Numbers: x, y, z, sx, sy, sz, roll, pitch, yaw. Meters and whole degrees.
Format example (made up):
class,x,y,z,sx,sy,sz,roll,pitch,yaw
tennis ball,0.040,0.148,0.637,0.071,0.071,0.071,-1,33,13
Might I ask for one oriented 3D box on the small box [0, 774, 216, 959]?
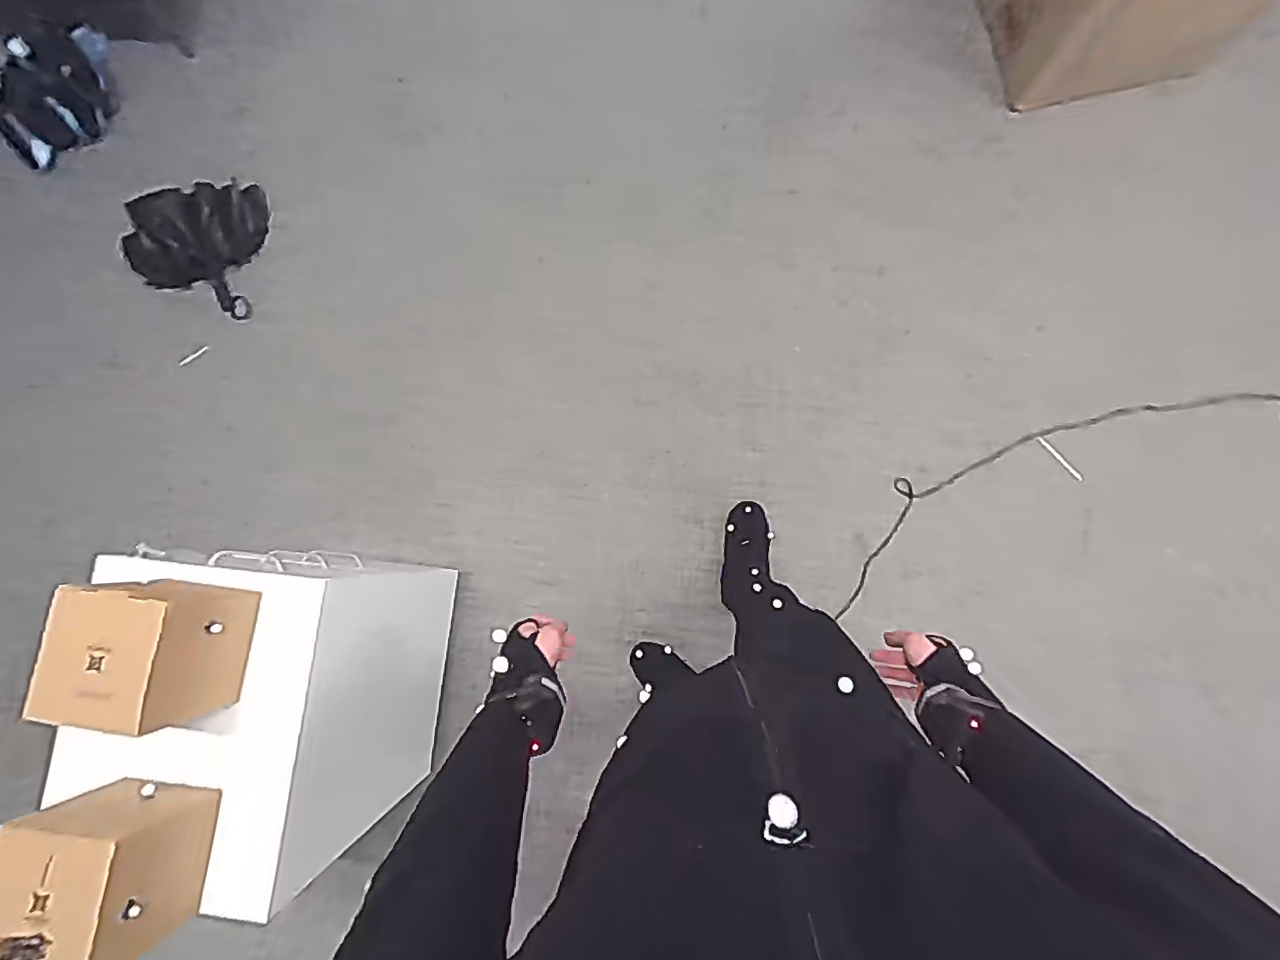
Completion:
class,x,y,z,sx,sy,sz,roll,pitch,yaw
small box,-0.724,0.529,0.728,0.168,0.176,0.179,5,81,3

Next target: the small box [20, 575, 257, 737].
class,x,y,z,sx,sy,sz,roll,pitch,yaw
small box,-0.689,0.234,0.766,0.168,0.176,0.179,7,85,5
